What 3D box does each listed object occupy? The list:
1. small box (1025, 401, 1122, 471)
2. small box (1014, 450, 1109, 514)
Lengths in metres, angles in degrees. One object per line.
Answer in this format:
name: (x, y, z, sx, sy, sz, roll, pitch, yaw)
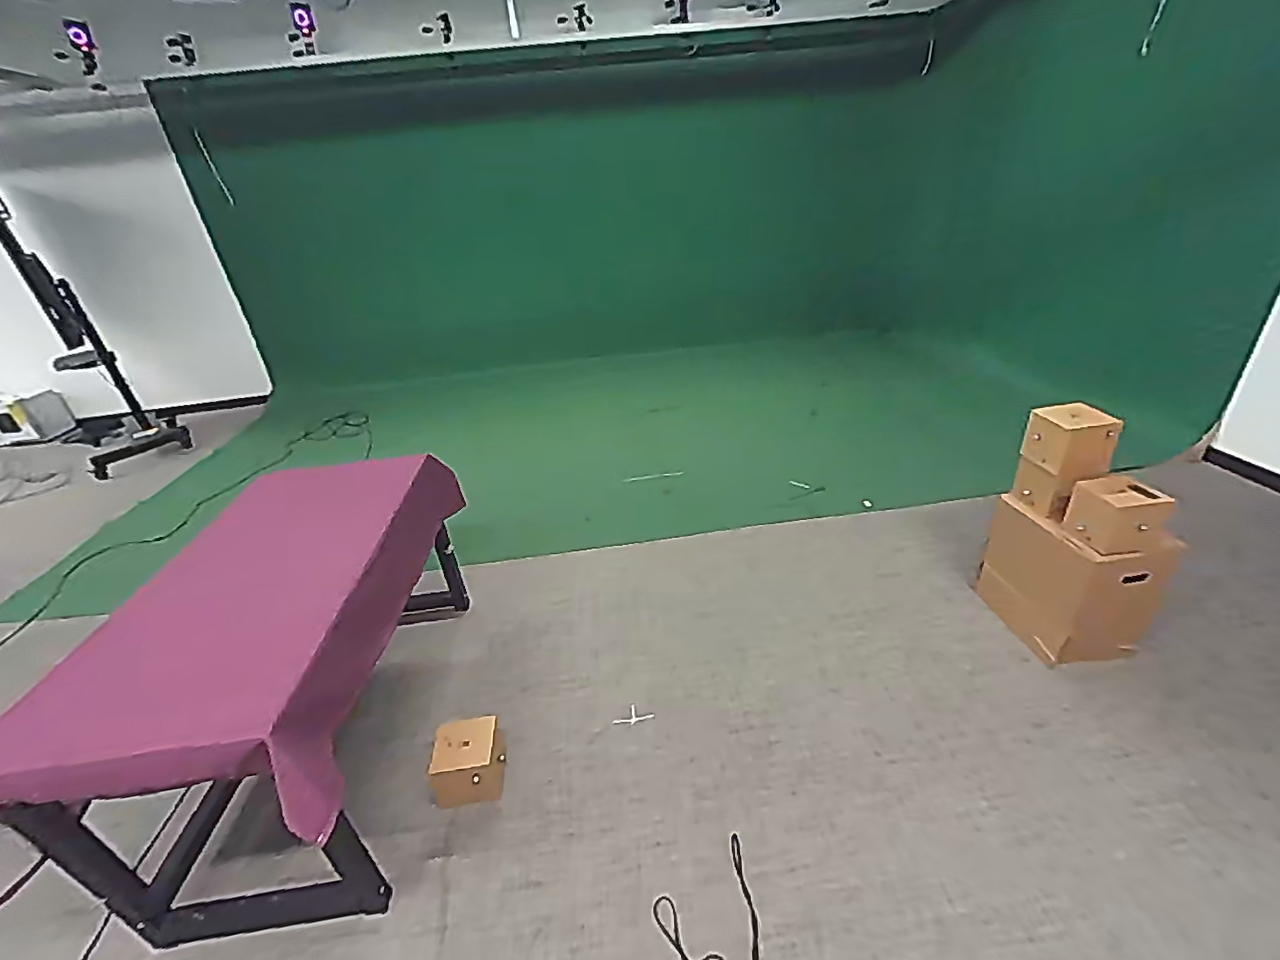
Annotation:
small box: (1.398, -0.142, 1.761, 0.179, 0.176, 0.168, -8, 31, -2)
small box: (1.426, -0.004, 1.843, 0.179, 0.176, 0.168, -9, 31, -1)
